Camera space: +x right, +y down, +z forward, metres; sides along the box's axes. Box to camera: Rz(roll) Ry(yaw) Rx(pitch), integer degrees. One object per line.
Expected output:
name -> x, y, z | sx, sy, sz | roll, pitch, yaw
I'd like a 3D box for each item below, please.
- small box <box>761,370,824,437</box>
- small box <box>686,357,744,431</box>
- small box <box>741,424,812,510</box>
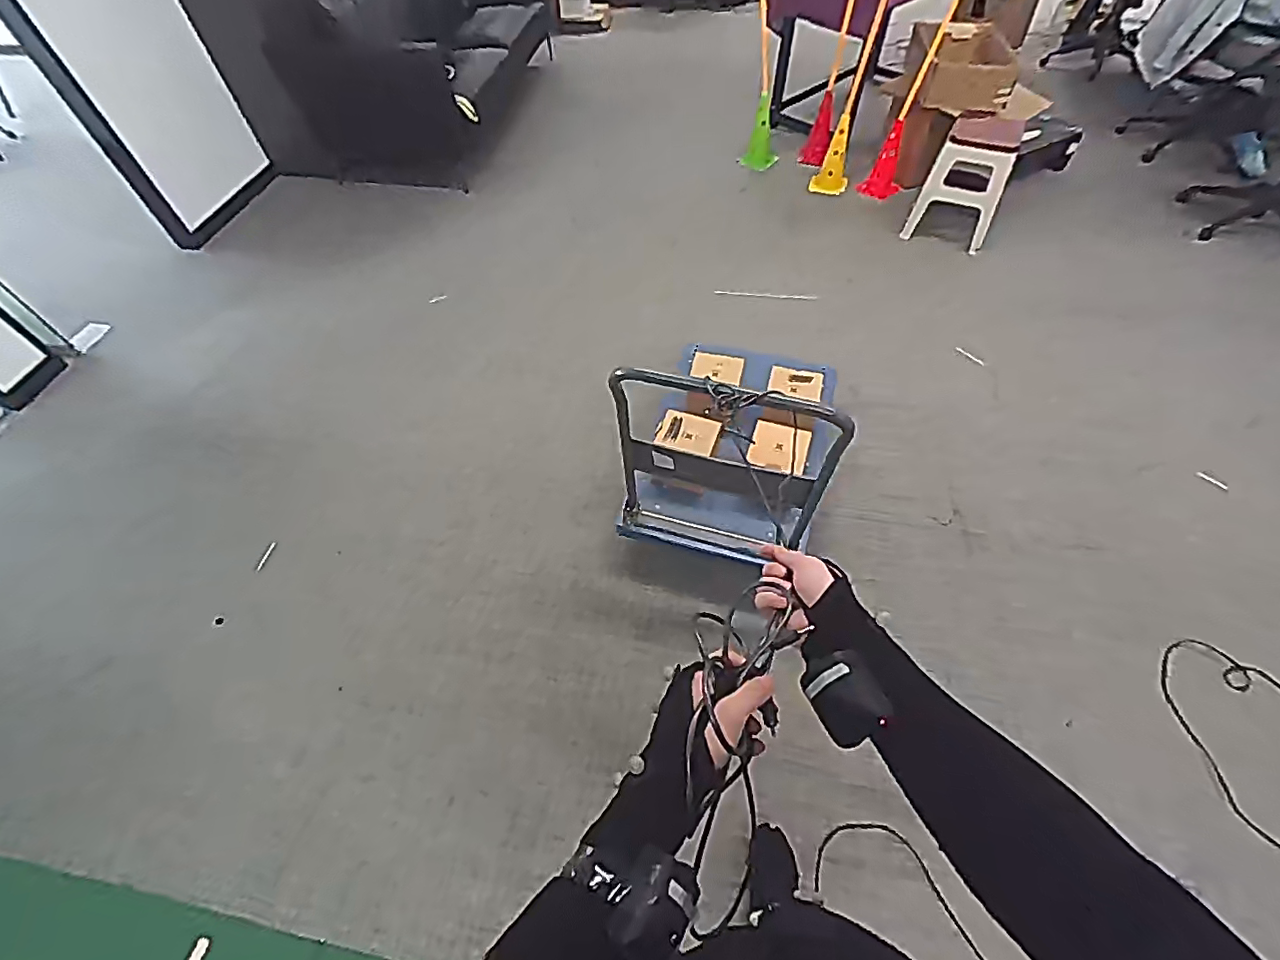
small box -> 0.496, -0.232, 1.778 | 0.168, 0.176, 0.179 | 11, 57, 12
small box -> 0.253, -0.289, 1.833 | 0.168, 0.176, 0.179 | 11, 56, 10
small box -> 0.412, -0.037, 1.649 | 0.168, 0.176, 0.179 | 15, 58, 14
